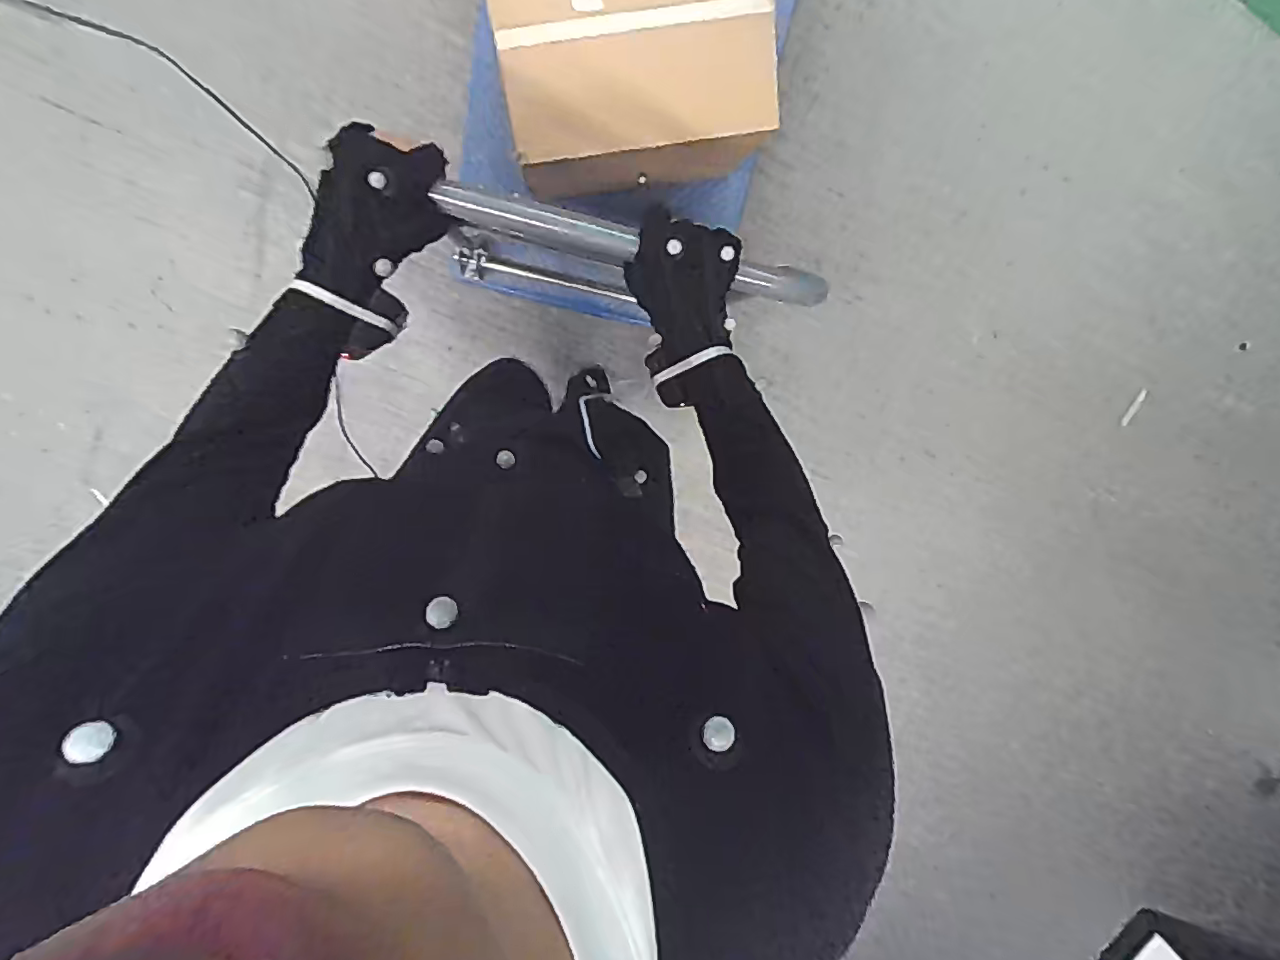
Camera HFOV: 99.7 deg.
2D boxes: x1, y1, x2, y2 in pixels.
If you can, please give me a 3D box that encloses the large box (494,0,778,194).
[{"bbox_3d":[-0.012,-0.711,0.927,0.408,0.320,0.320,-9,108,-1],"label":"large box"}]
